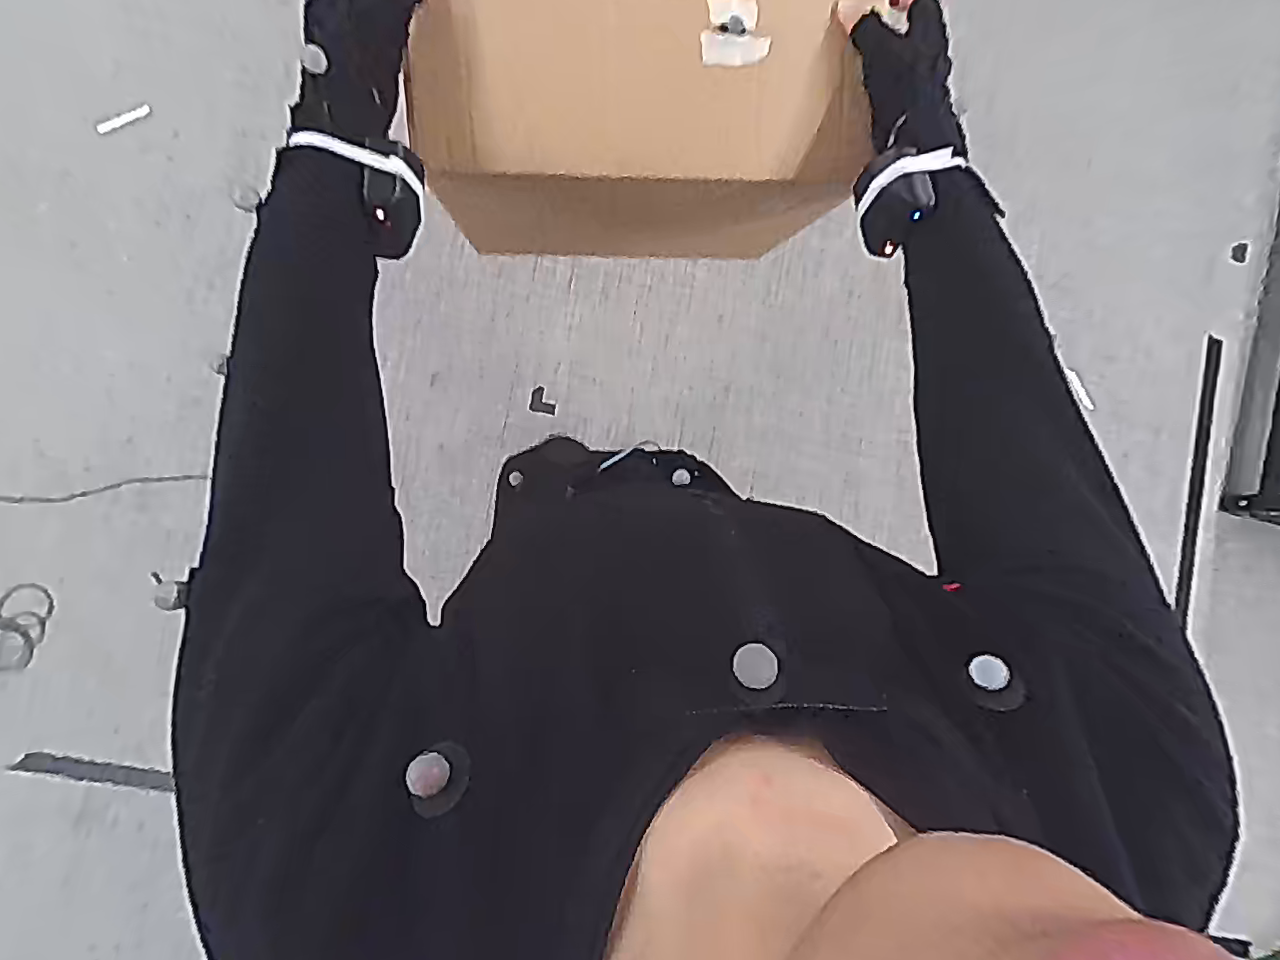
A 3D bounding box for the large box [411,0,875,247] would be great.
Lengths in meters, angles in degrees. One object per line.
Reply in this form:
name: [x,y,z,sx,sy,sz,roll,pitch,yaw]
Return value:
large box: [-0.010,-0.456,0.594,0.408,0.320,0.320,-2,102,-8]
